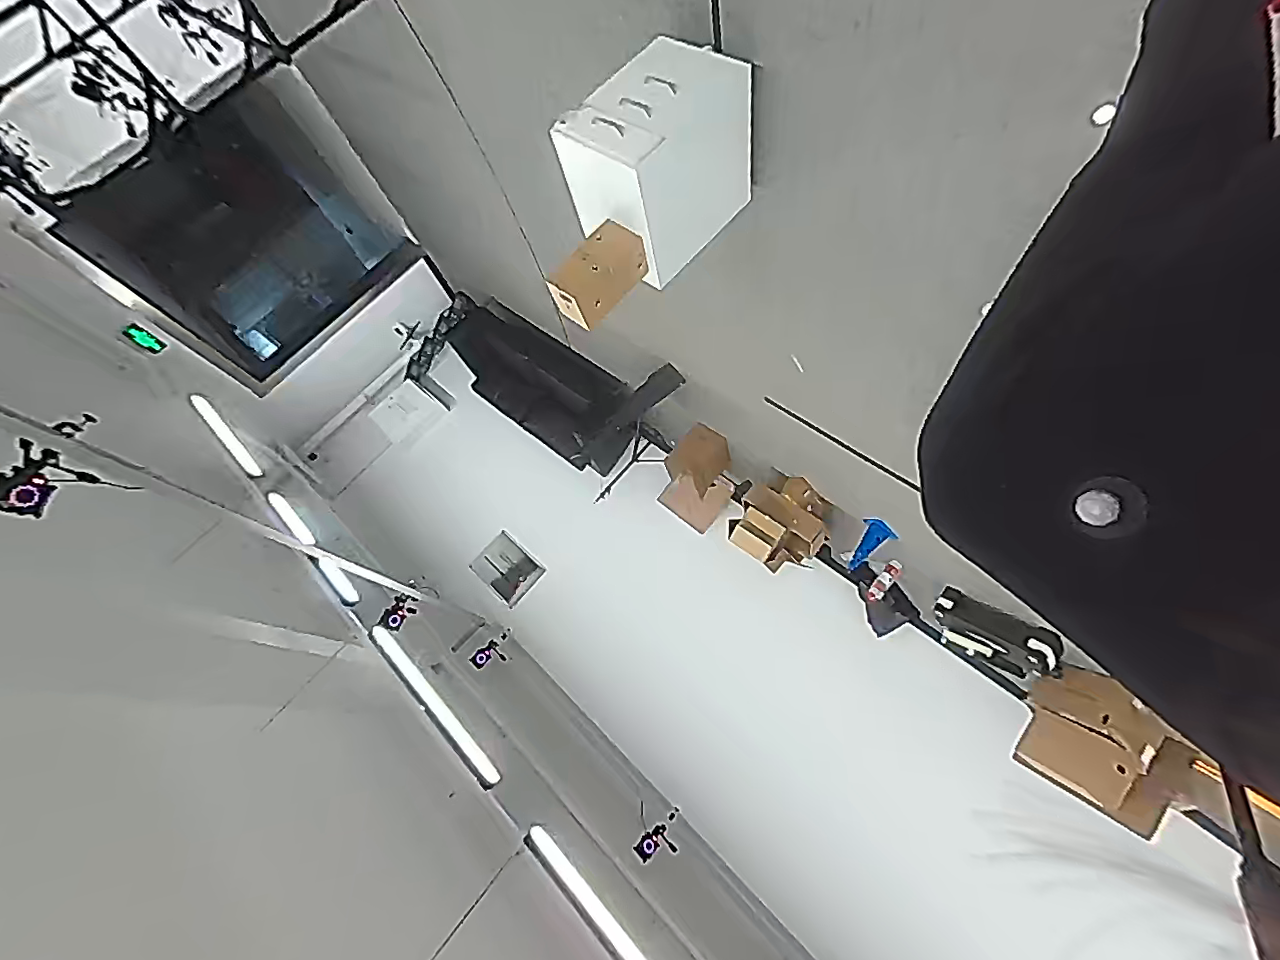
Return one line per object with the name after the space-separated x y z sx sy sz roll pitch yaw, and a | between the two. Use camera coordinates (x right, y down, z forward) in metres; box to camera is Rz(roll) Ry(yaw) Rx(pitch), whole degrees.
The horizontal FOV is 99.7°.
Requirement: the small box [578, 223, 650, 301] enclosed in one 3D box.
-0.089 -0.795 1.958 0.179 0.176 0.168 38 169 23 | small box

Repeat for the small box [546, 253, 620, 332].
-0.197 -0.673 1.934 0.168 0.176 0.179 38 170 27 | small box
